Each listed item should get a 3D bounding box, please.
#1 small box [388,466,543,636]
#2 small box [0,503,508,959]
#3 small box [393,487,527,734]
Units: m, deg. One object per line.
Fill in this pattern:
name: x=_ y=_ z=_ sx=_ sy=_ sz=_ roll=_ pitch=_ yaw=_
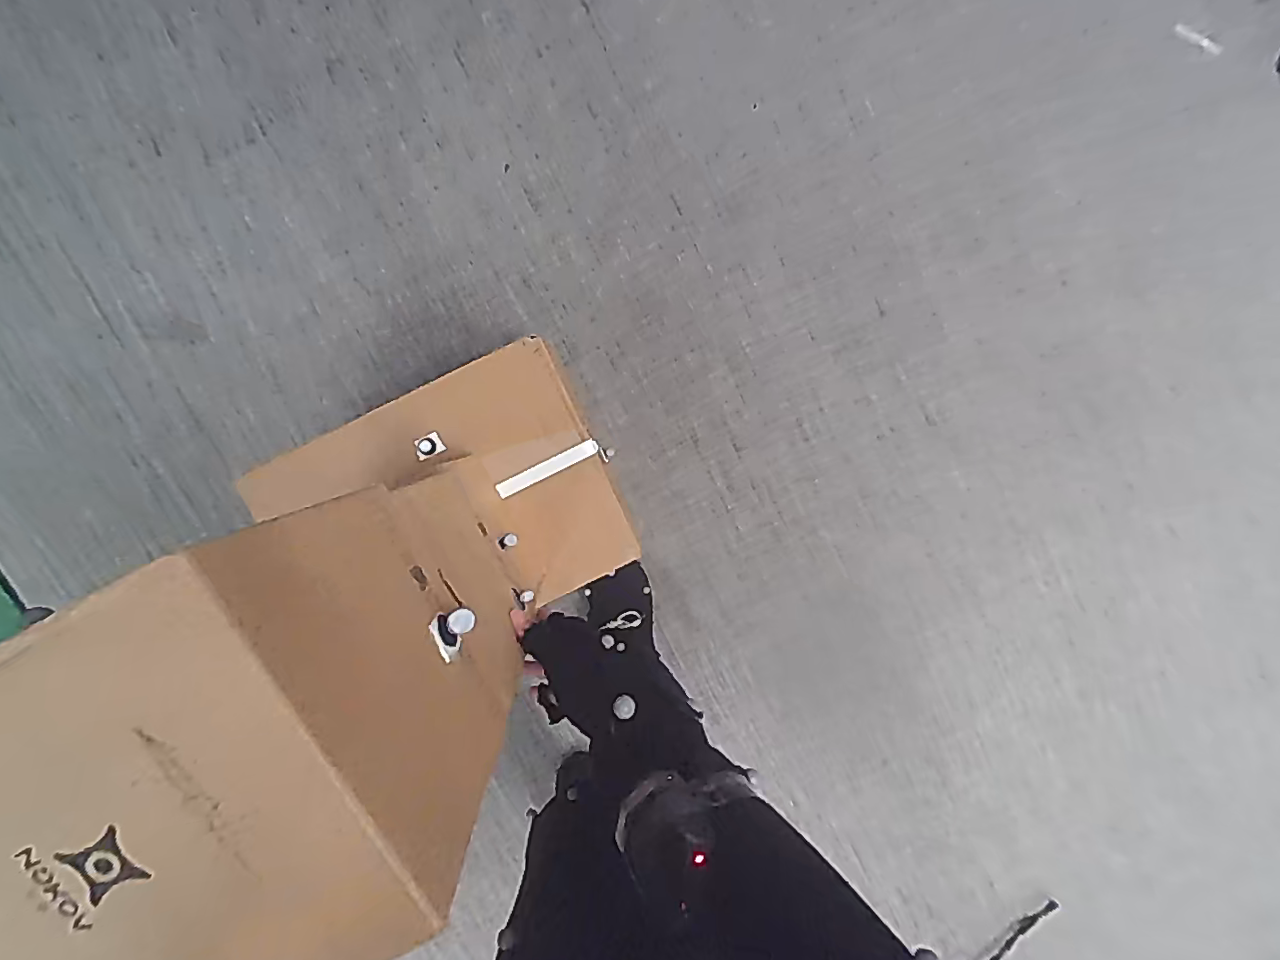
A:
small box: x=-0.221 y=0.102 z=0.591 sx=0.168 sy=0.176 sz=0.179 roll=-30 pitch=99 yaw=0
small box: x=-0.188 y=0.130 z=0.267 sx=0.179 sy=0.176 sz=0.168 roll=-29 pitch=99 yaw=-1
small box: x=-0.203 y=0.119 z=0.427 sx=0.179 sy=0.176 sz=0.168 roll=-27 pitch=98 yaw=0
